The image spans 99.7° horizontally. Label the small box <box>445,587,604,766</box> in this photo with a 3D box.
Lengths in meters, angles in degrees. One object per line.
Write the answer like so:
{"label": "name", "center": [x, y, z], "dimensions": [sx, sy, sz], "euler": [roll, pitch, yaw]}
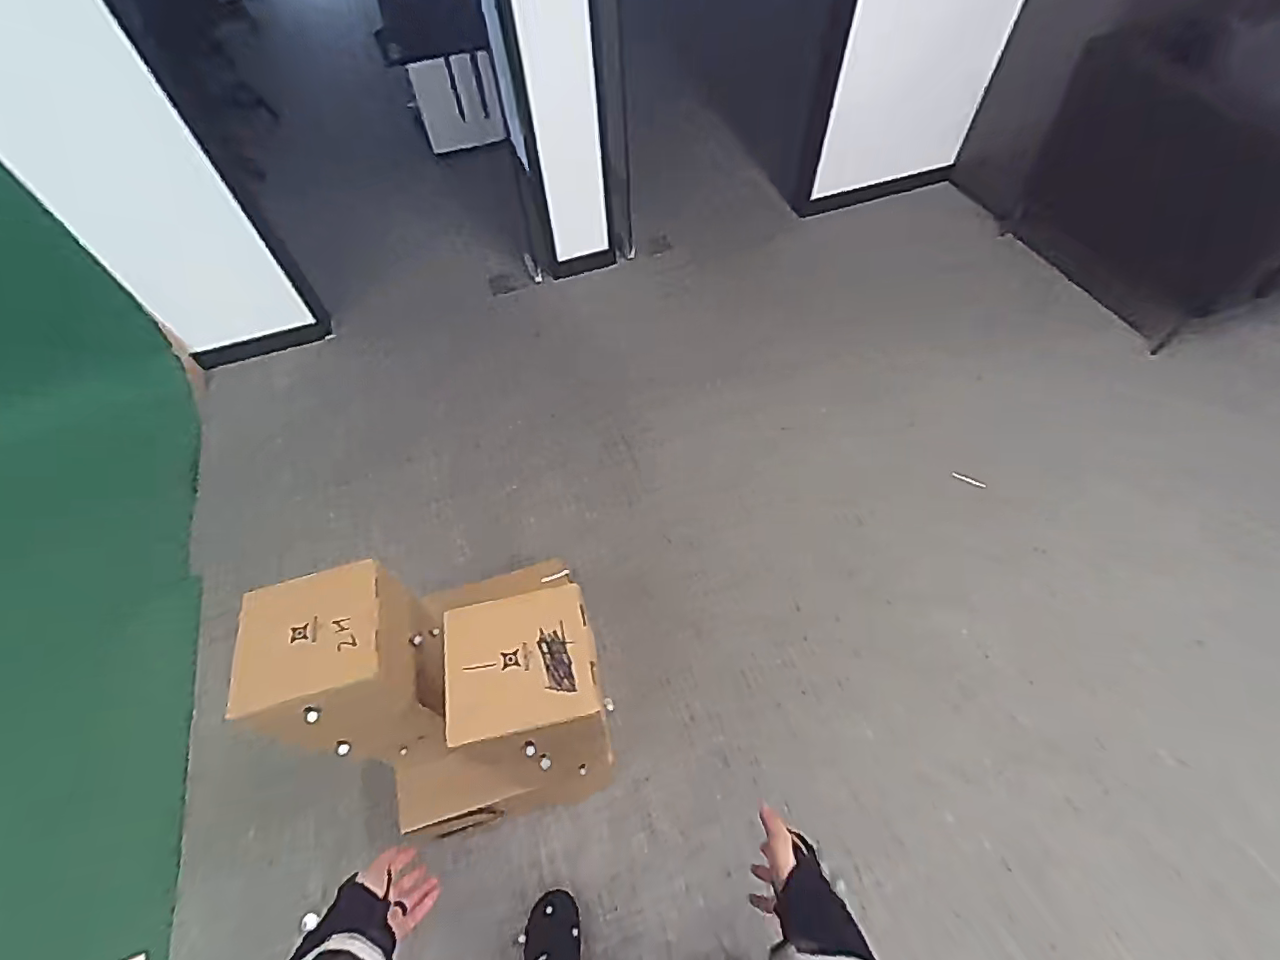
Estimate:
{"label": "small box", "center": [-0.146, 0.264, 0.717], "dimensions": [0.179, 0.176, 0.168], "euler": [-11, 56, -6]}

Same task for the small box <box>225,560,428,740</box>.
{"label": "small box", "center": [-0.411, 0.238, 0.740], "dimensions": [0.179, 0.176, 0.168], "euler": [-14, 56, -7]}

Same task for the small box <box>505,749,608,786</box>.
{"label": "small box", "center": [-0.156, 0.444, 0.989], "dimensions": [0.168, 0.176, 0.179], "euler": [-11, 55, -7]}

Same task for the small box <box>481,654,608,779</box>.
{"label": "small box", "center": [-0.148, 0.355, 0.853], "dimensions": [0.179, 0.176, 0.168], "euler": [-11, 55, -7]}

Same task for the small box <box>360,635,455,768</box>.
{"label": "small box", "center": [-0.401, 0.417, 1.018], "dimensions": [0.168, 0.176, 0.179], "euler": [-13, 55, -6]}
